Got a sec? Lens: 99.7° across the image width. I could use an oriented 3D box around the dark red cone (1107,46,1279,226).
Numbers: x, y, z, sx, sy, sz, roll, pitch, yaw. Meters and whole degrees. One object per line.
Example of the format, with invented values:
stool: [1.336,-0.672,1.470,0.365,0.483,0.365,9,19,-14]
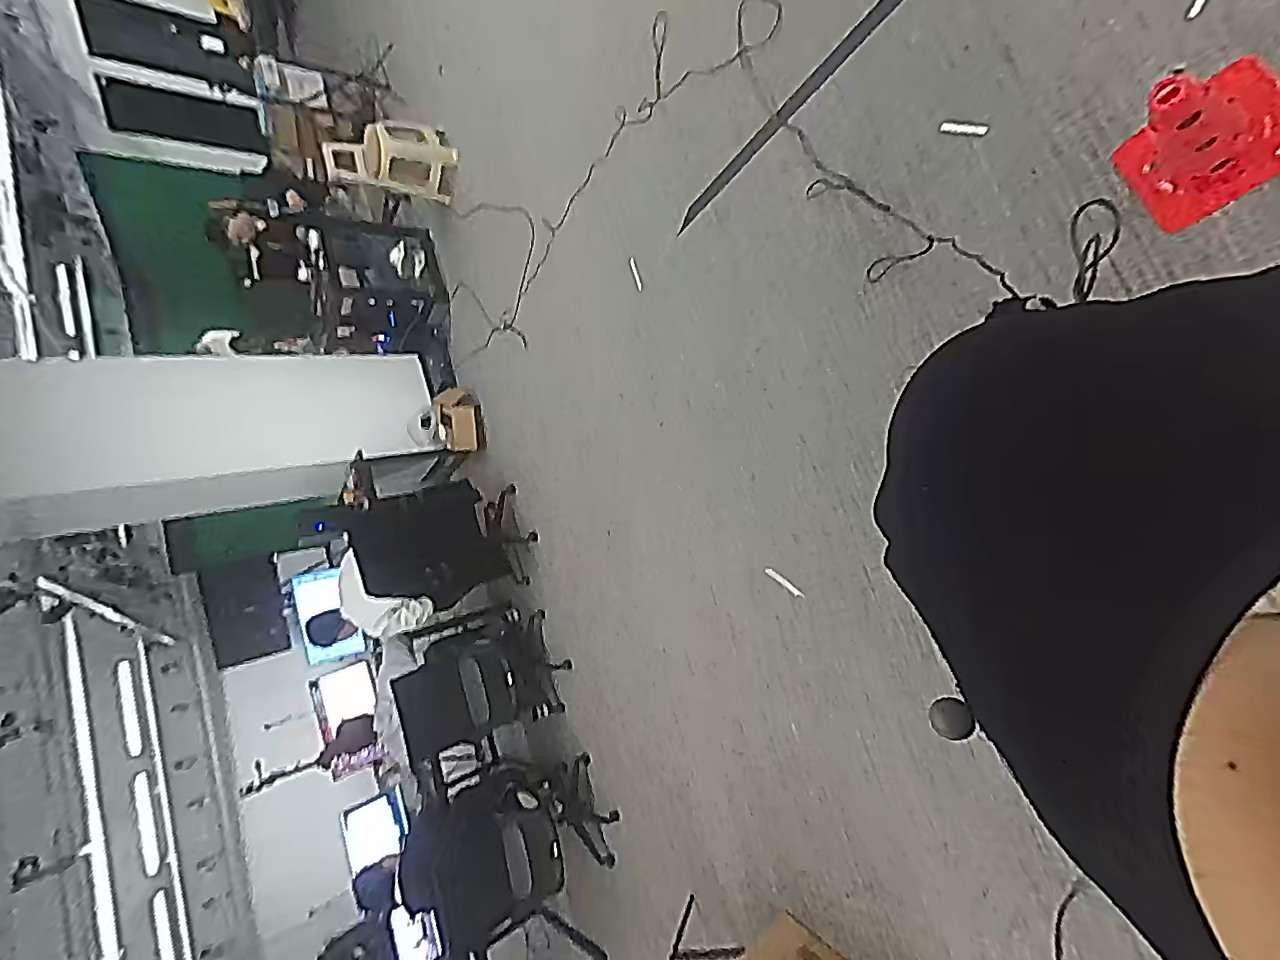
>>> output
dark red cone: [0.806,-0.537,0.801,0.202,0.394,0.201,-40,66,50]
